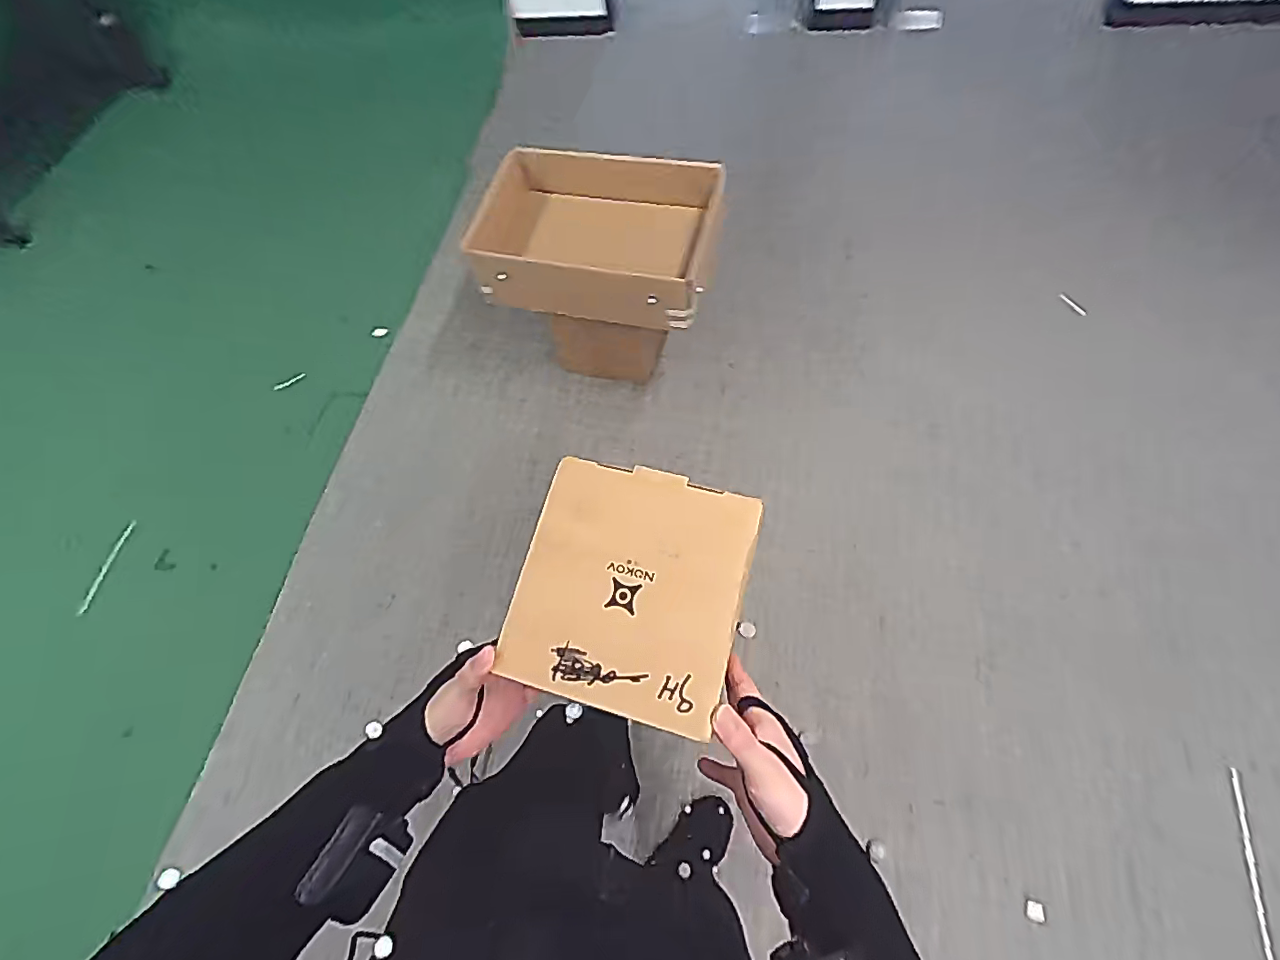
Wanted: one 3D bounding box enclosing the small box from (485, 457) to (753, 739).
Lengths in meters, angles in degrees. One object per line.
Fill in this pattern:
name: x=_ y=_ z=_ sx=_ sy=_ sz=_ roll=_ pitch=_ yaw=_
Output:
small box: x=-0.004 y=0.104 z=0.476 sx=0.168 sy=0.176 sz=0.179 roll=12 pitch=72 yaw=13
